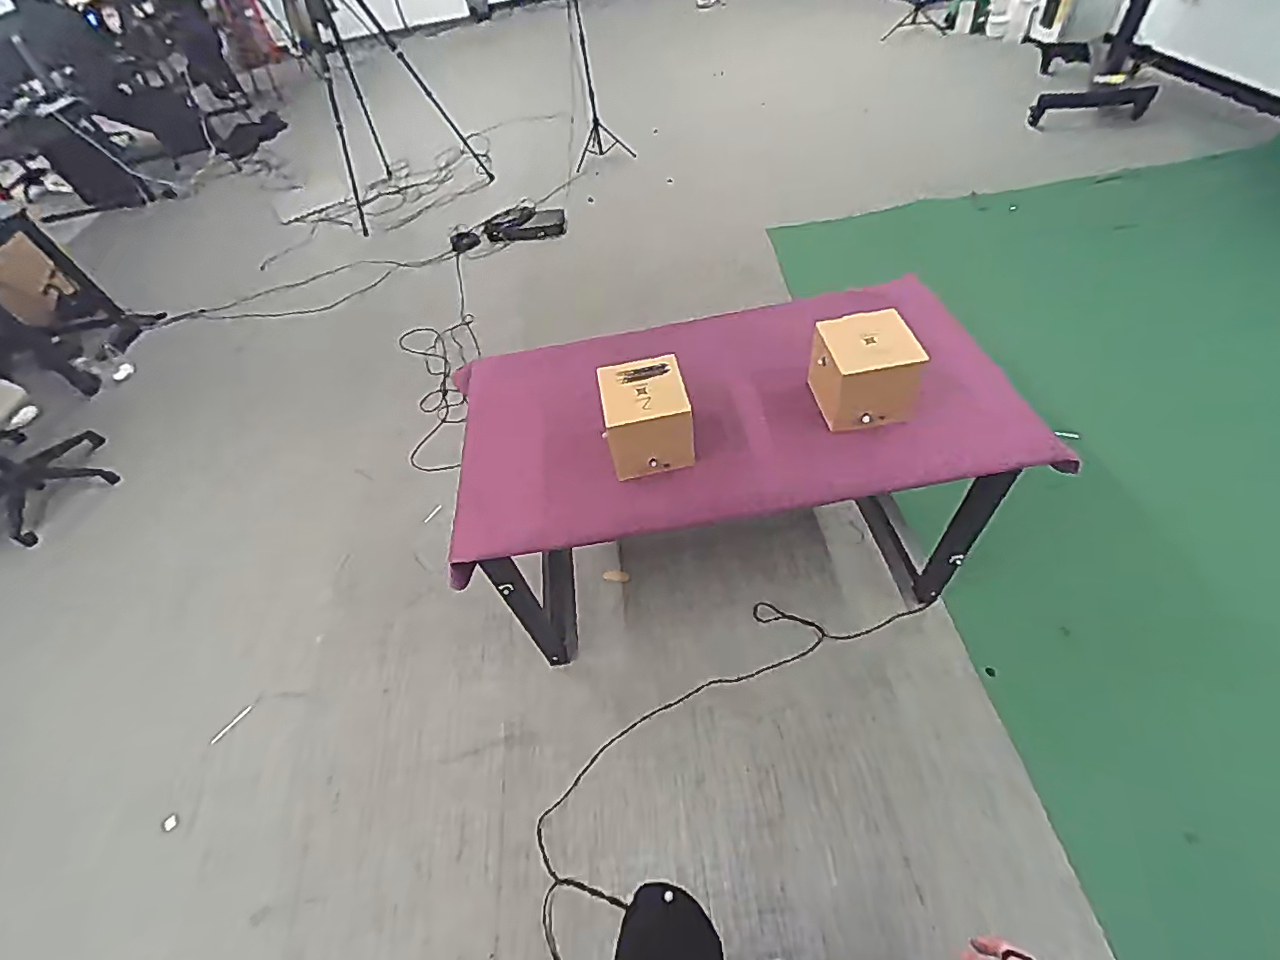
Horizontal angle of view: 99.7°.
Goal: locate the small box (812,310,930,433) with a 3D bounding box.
[{"bbox_3d":[0.465,-0.223,1.124,0.168,0.176,0.179,-9,50,4],"label":"small box"}]
